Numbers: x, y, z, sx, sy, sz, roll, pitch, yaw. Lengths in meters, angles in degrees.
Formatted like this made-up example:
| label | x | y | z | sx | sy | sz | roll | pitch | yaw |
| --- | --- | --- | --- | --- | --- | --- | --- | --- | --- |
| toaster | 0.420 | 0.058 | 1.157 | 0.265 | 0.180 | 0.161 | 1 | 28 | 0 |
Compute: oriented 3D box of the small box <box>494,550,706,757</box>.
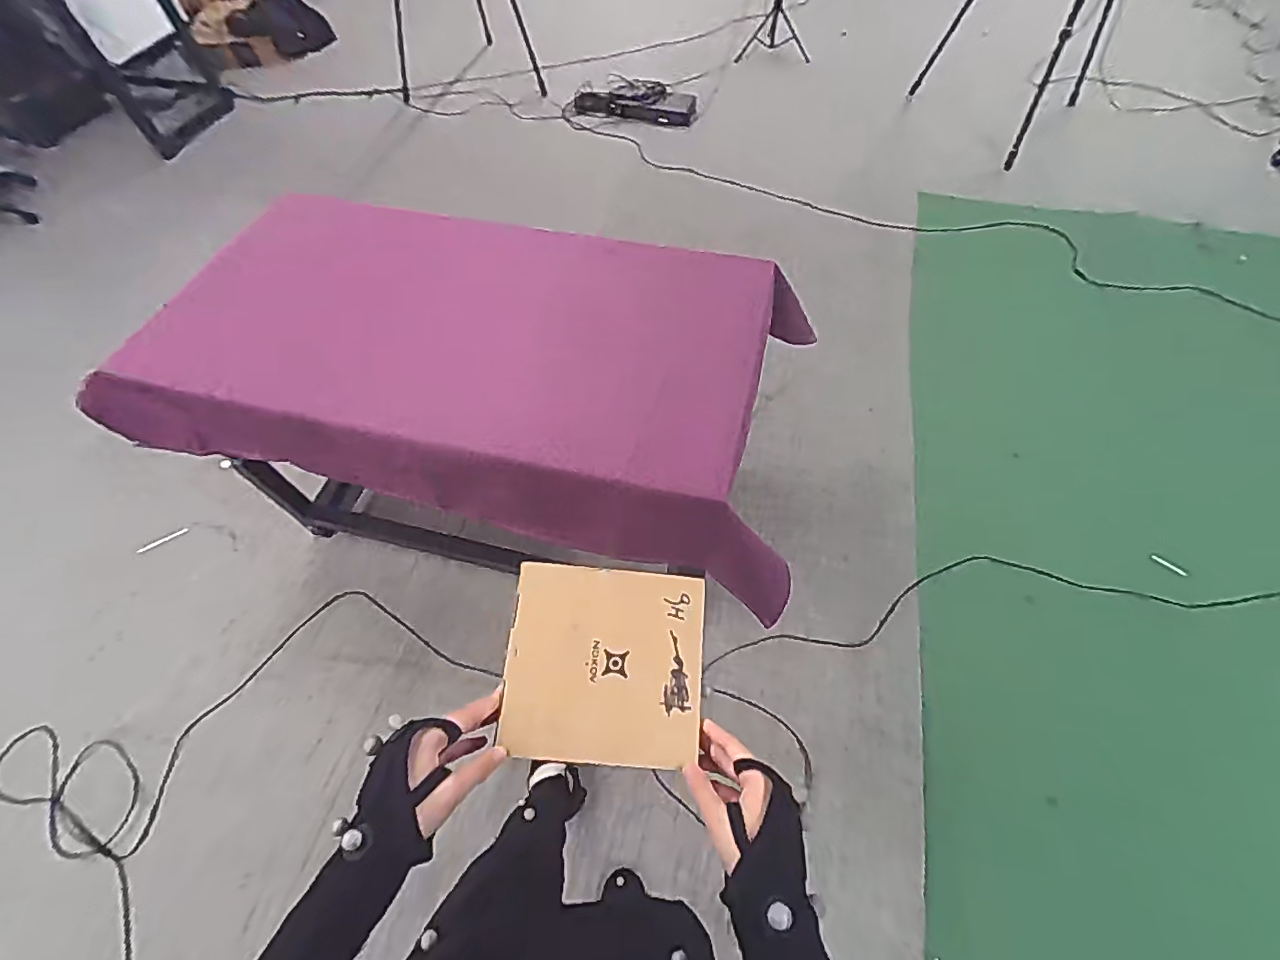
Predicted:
| label | x | y | z | sx | sy | sz | roll | pitch | yaw |
| --- | --- | --- | --- | --- | --- | --- | --- | --- | --- |
| small box | -0.035 | 0.180 | 0.561 | 0.179 | 0.176 | 0.168 | 7 | 69 | -2 |
